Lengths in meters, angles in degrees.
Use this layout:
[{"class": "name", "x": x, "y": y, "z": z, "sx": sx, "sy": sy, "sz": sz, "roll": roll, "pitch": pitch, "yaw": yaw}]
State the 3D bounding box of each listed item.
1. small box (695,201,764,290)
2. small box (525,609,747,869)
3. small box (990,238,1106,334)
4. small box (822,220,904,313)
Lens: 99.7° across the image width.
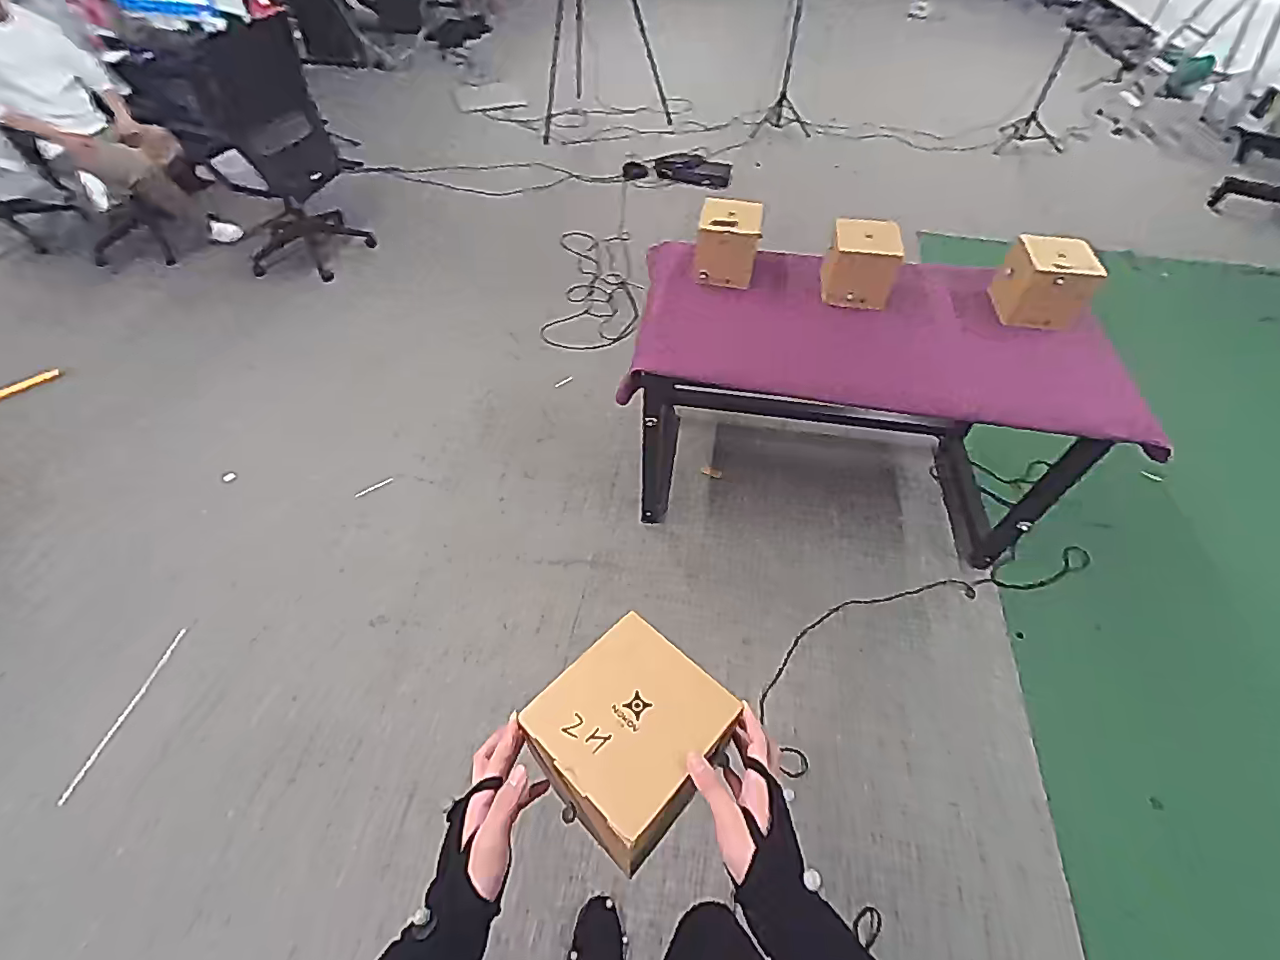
[{"class": "small box", "x": 0.253, "y": -0.671, "z": 1.554, "sx": 0.168, "sy": 0.176, "sz": 0.179, "roll": 10, "pitch": 53, "yaw": 7}, {"class": "small box", "x": -0.007, "y": 0.291, "z": 0.616, "sx": 0.168, "sy": 0.176, "sz": 0.179, "roll": 35, "pitch": 53, "yaw": 30}, {"class": "small box", "x": 1.070, "y": -0.516, "z": 1.438, "sx": 0.168, "sy": 0.176, "sz": 0.179, "roll": 7, "pitch": 52, "yaw": 6}, {"class": "small box", "x": 0.607, "y": -0.590, "z": 1.497, "sx": 0.168, "sy": 0.176, "sz": 0.179, "roll": 8, "pitch": 53, "yaw": 7}]
